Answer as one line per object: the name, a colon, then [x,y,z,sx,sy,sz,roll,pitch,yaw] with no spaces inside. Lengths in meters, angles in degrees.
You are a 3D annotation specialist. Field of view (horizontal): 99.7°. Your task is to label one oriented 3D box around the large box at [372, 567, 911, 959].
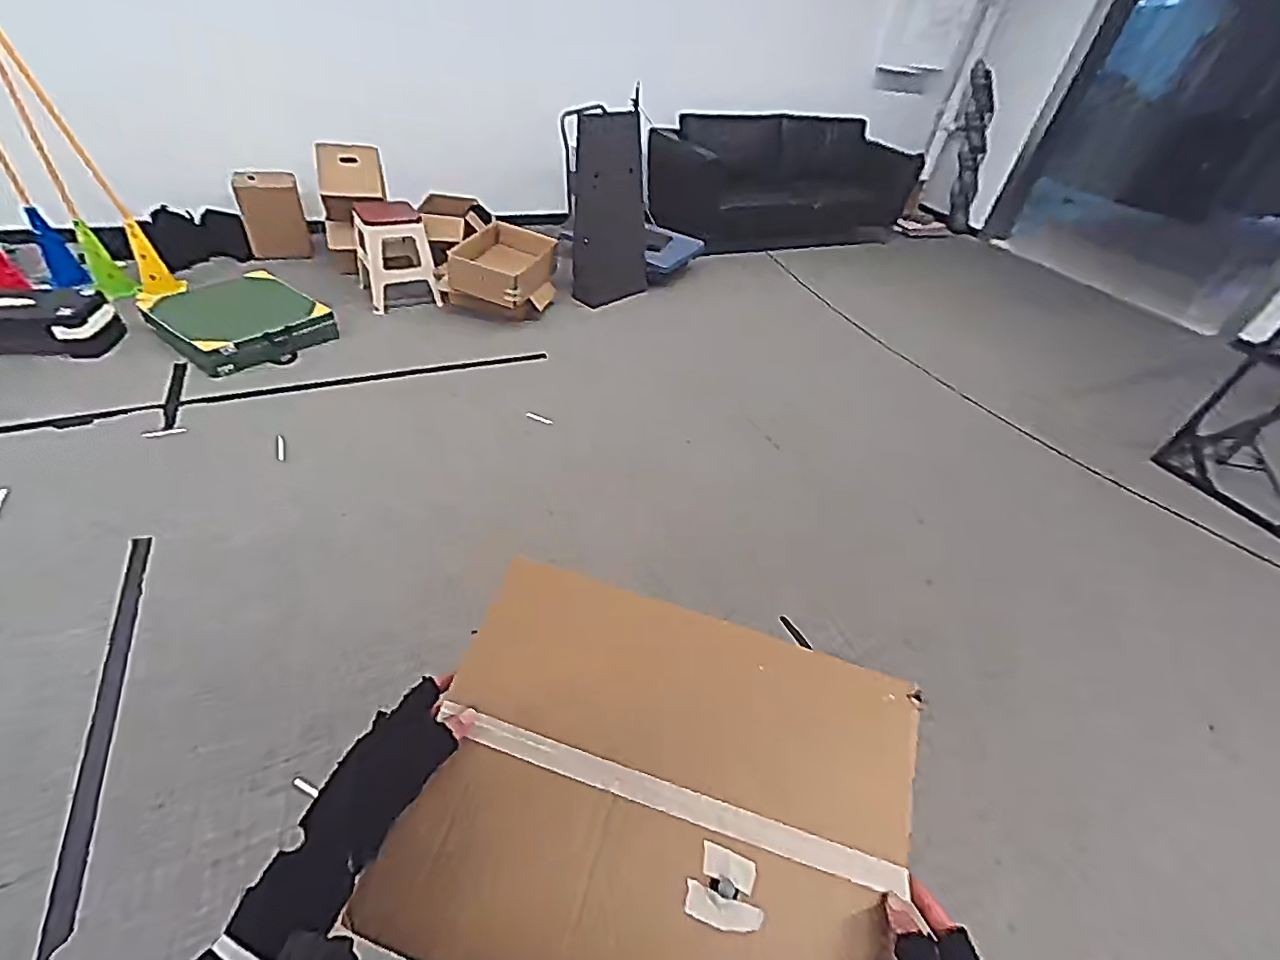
large box: [0.017,0.342,0.592,0.408,0.320,0.320,17,61,8]
